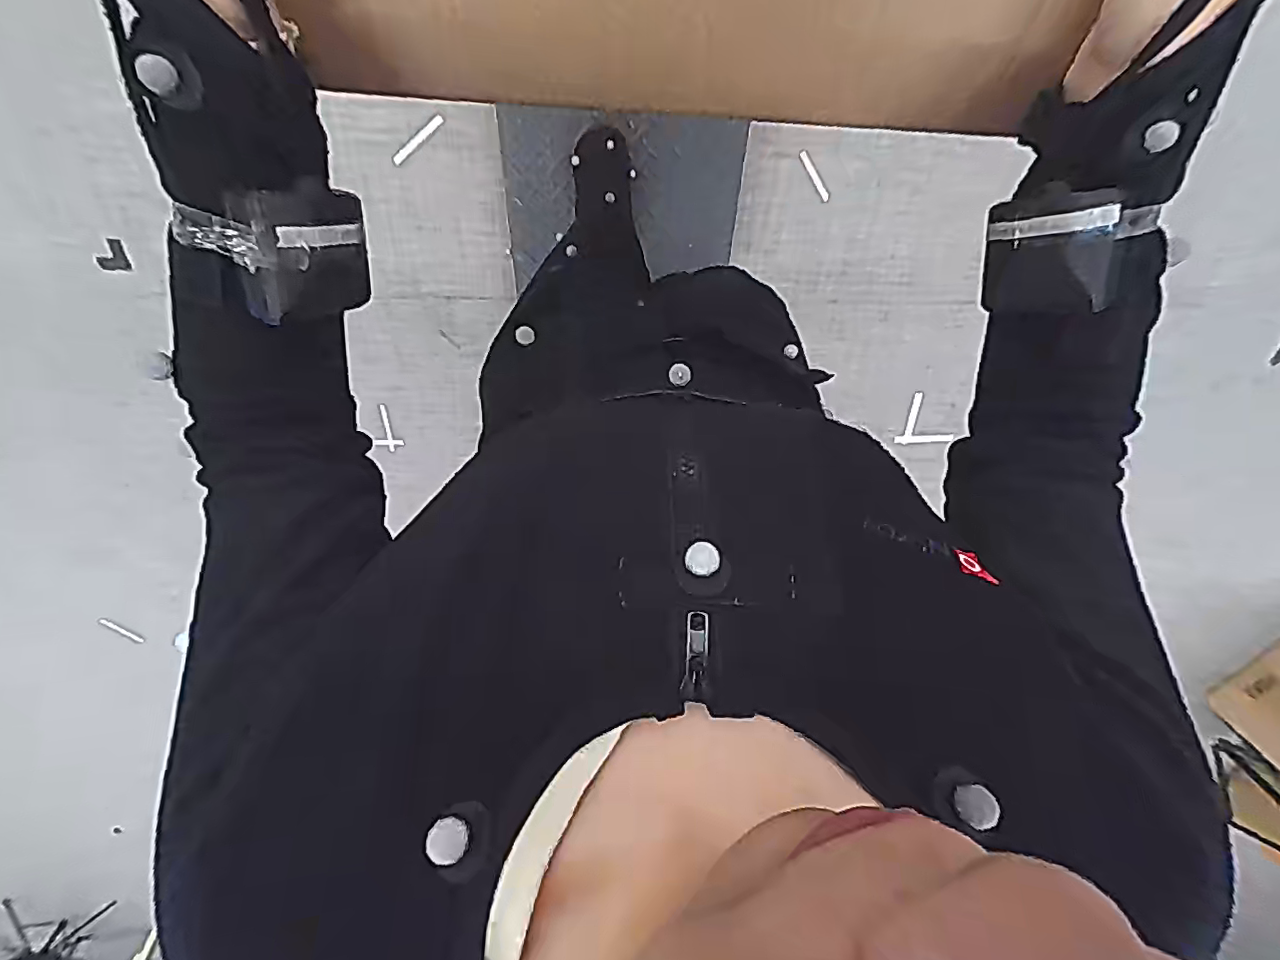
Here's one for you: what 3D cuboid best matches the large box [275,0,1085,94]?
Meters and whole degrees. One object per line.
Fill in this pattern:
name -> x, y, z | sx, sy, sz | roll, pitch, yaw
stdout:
large box -> 0.023, -0.423, 0.244 | 0.408, 0.320, 0.320 | 0, 148, -5

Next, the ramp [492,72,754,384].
ramp -> -0.033, -0.629, 1.107 | 0.509, 0.206, 0.991 | -2, 122, -4
